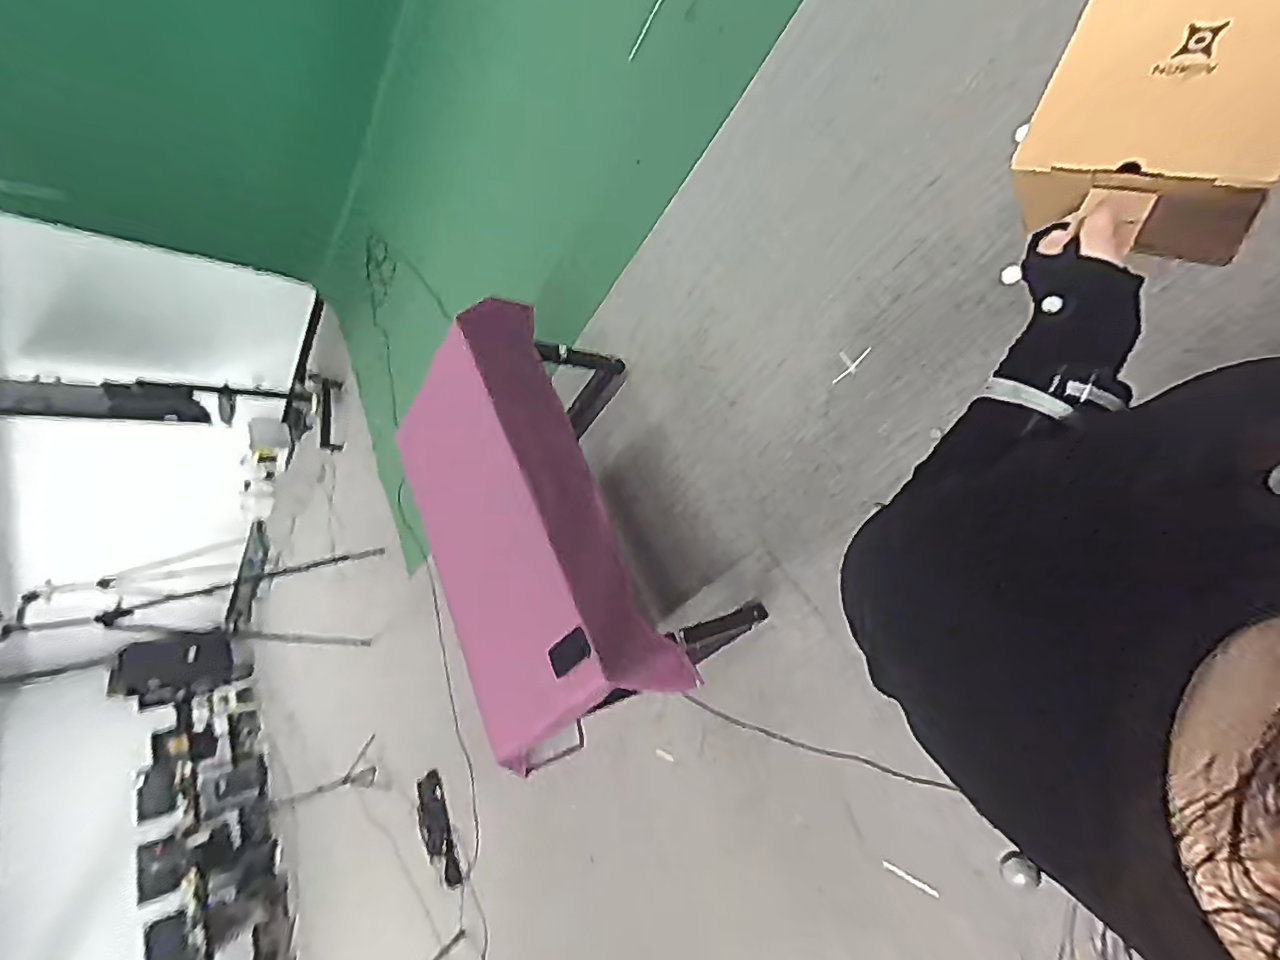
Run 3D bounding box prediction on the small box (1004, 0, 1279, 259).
[{"bbox_3d":[0.444,-0.312,0.456,0.168,0.176,0.179,31,110,35],"label":"small box"}]
